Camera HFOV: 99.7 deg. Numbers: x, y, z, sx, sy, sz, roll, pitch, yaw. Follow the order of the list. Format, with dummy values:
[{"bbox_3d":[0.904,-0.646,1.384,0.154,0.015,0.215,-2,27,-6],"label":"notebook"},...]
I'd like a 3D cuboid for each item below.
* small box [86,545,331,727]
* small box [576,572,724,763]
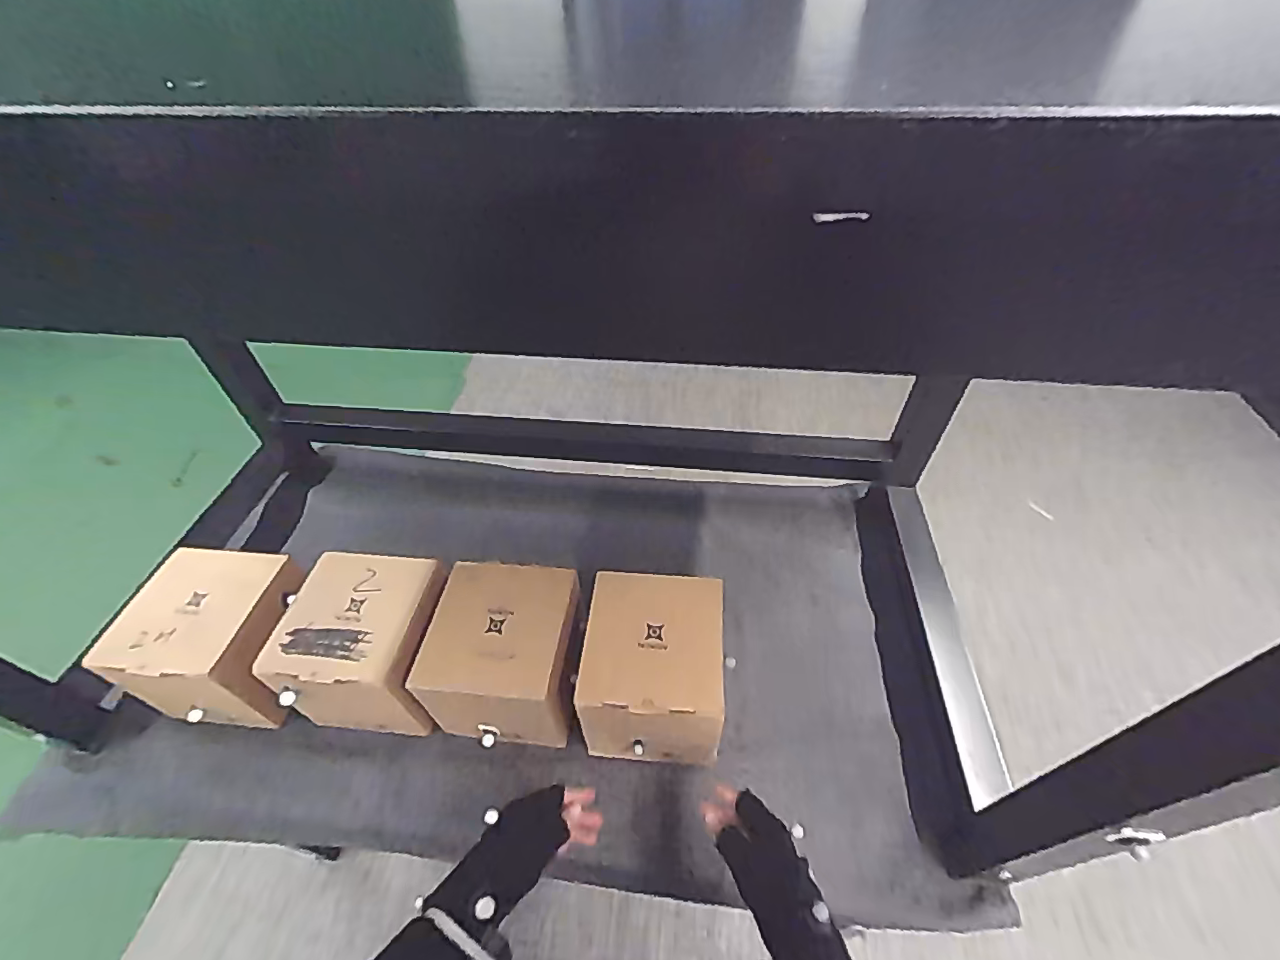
[{"bbox_3d":[-0.563,0.214,0.743,0.168,0.176,0.179,3,47,5],"label":"small box"},{"bbox_3d":[0.019,0.242,0.702,0.168,0.176,0.179,2,46,5],"label":"small box"}]
